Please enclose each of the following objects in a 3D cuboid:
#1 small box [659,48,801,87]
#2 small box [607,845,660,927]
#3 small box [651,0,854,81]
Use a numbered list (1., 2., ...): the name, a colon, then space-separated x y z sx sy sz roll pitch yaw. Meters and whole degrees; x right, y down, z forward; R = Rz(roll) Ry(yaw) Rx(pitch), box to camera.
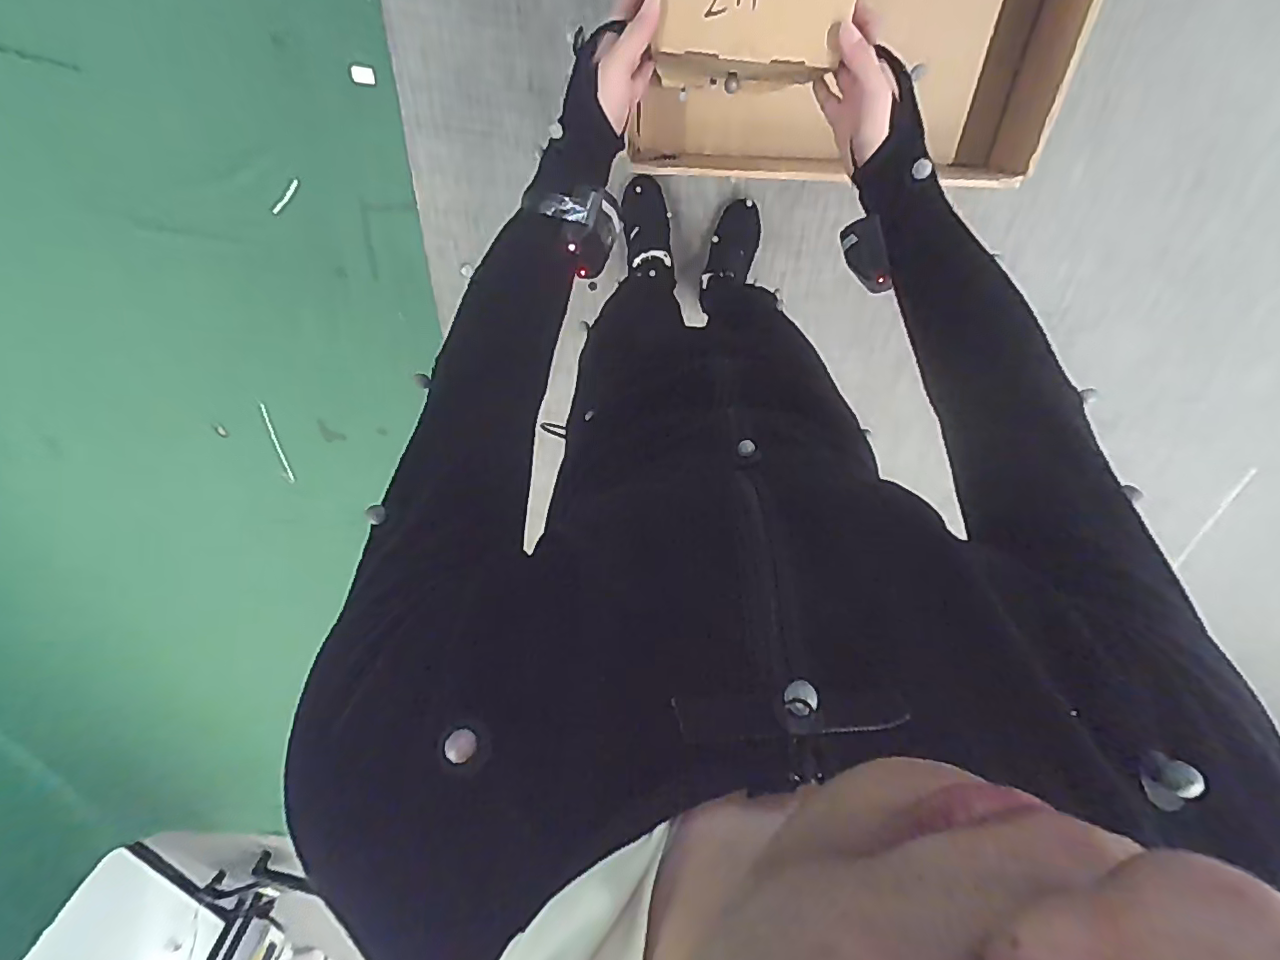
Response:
1. small box: 0.112 -0.568 0.620 0.168 0.176 0.179 5 124 2
2. small box: -0.016 1.345 1.792 0.168 0.176 0.179 0 124 2
3. small box: 0.102 -0.478 0.480 0.168 0.176 0.179 7 123 1
